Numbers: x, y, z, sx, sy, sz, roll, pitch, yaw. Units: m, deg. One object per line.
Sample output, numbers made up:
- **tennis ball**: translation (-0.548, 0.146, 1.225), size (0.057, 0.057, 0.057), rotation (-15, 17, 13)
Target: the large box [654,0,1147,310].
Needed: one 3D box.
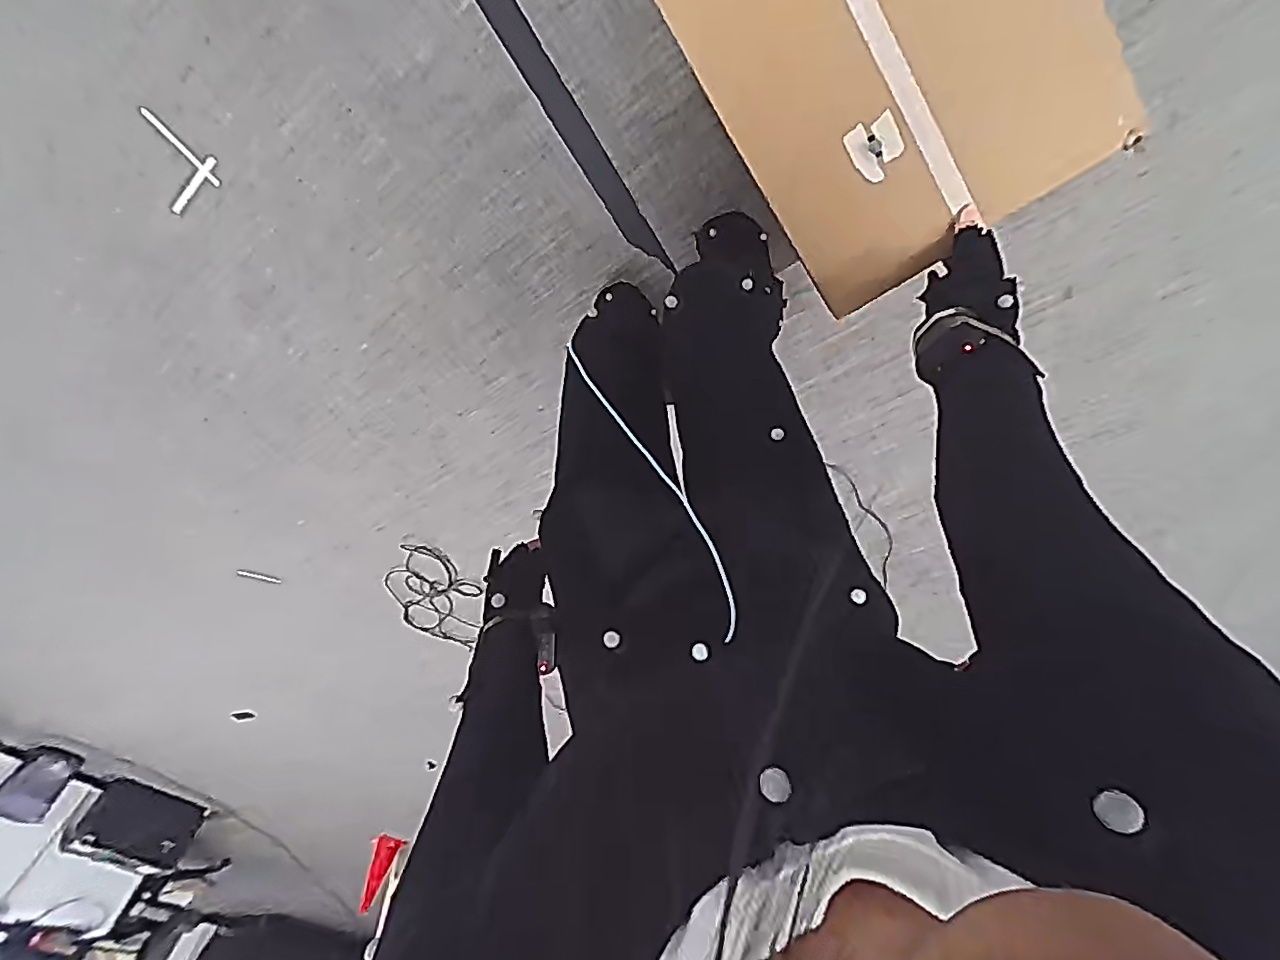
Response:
- **large box**: translation (0.279, -0.483, 0.660), size (0.320, 0.320, 0.408), rotation (-30, 104, 27)
